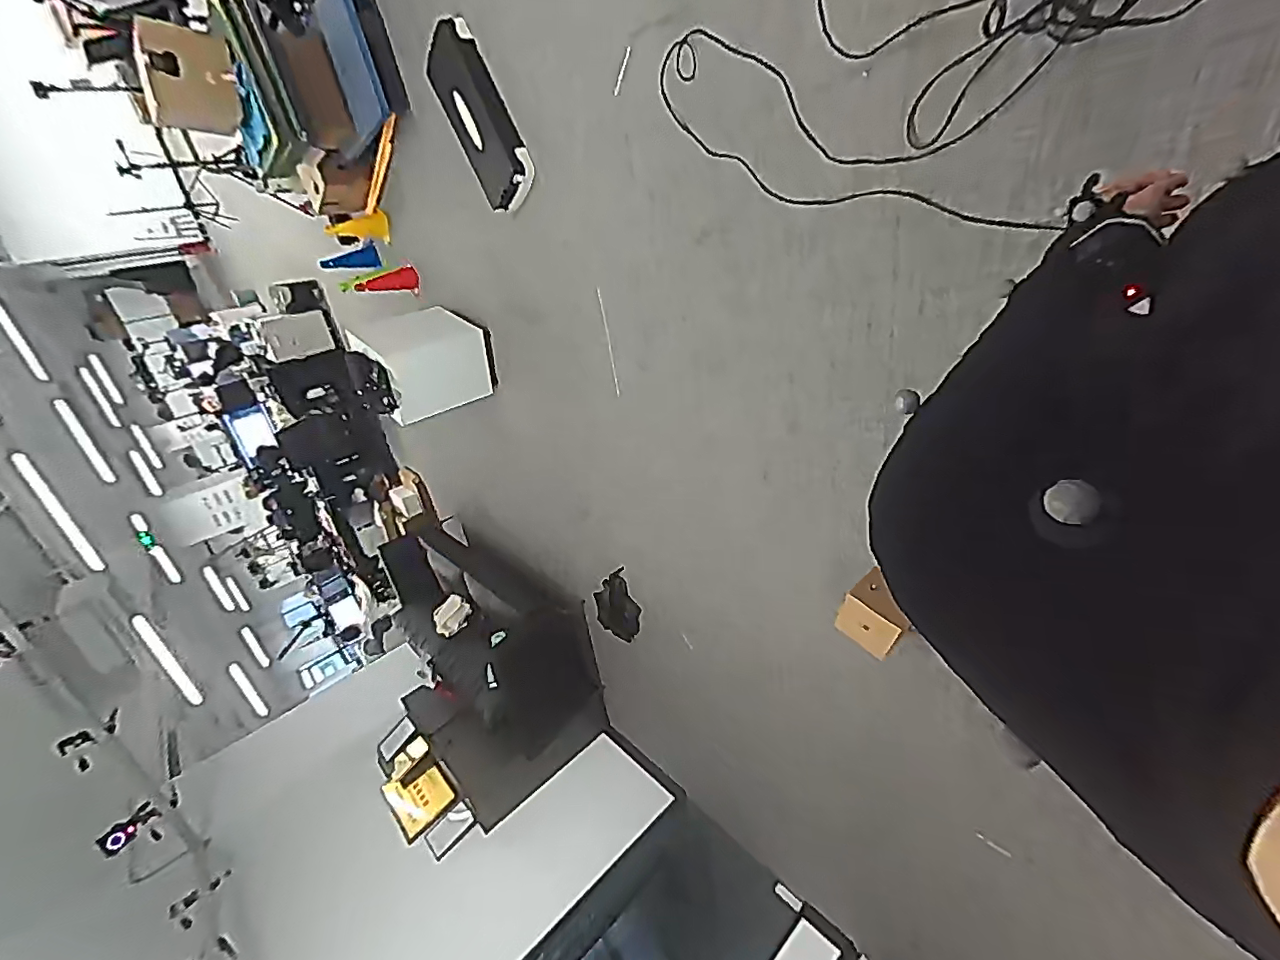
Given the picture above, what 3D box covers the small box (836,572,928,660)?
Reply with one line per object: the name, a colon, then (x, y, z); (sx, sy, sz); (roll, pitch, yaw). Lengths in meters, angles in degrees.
small box: (0.747, 0.409, 1.673); (0.179, 0.176, 0.168); (35, 139, 33)
